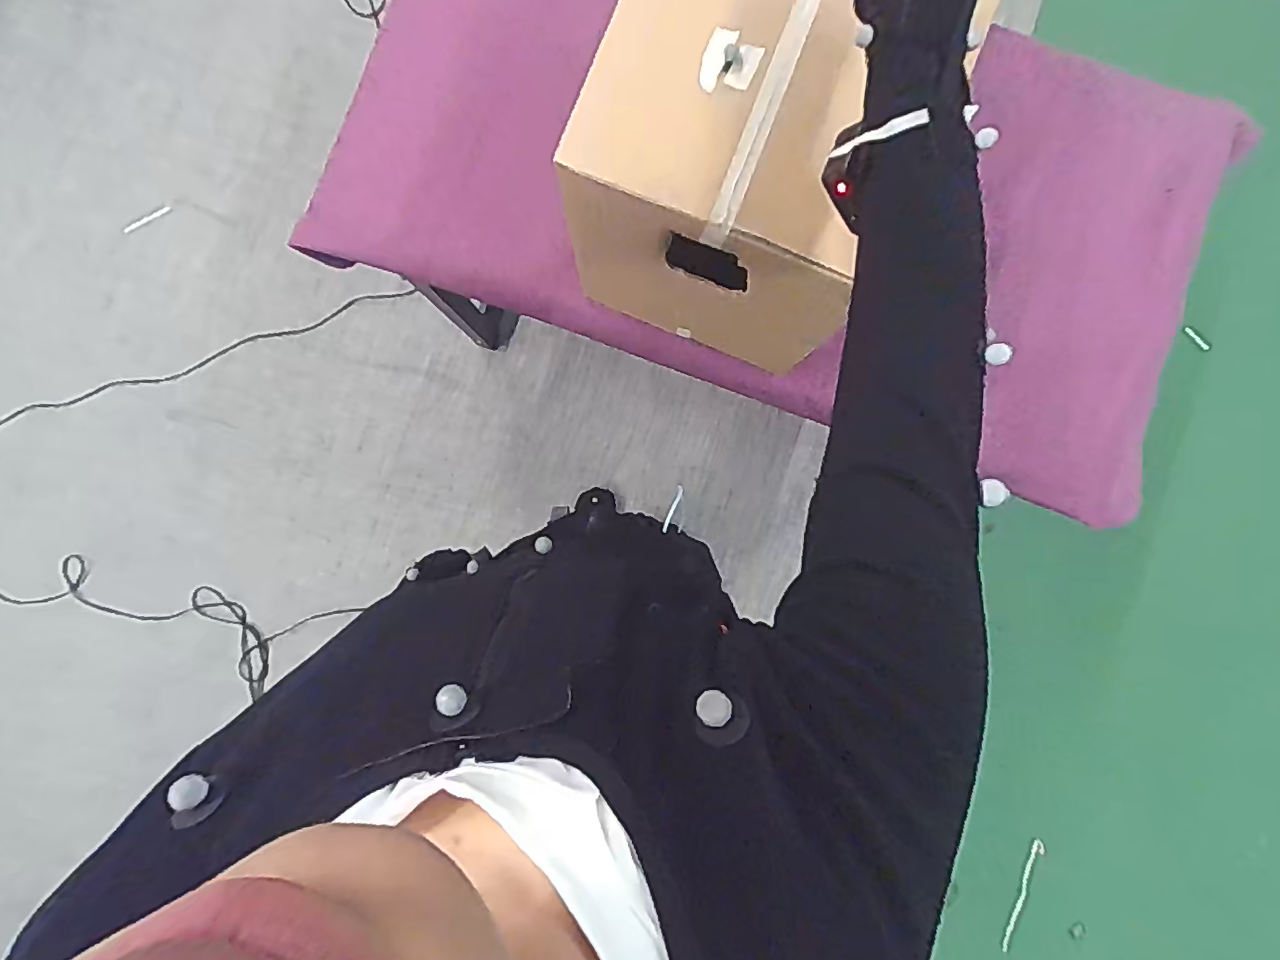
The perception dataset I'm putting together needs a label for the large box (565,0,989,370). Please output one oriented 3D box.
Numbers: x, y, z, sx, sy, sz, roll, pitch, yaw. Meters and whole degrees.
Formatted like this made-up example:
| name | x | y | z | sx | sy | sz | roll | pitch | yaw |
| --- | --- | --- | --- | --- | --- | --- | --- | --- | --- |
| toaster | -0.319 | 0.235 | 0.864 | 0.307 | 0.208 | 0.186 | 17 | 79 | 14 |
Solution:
| name | x | y | z | sx | sy | sz | roll | pitch | yaw |
| --- | --- | --- | --- | --- | --- | --- | --- | --- | --- |
| large box | 0.139 | -0.400 | 0.645 | 0.320 | 0.320 | 0.408 | 22 | 88 | 0 |
